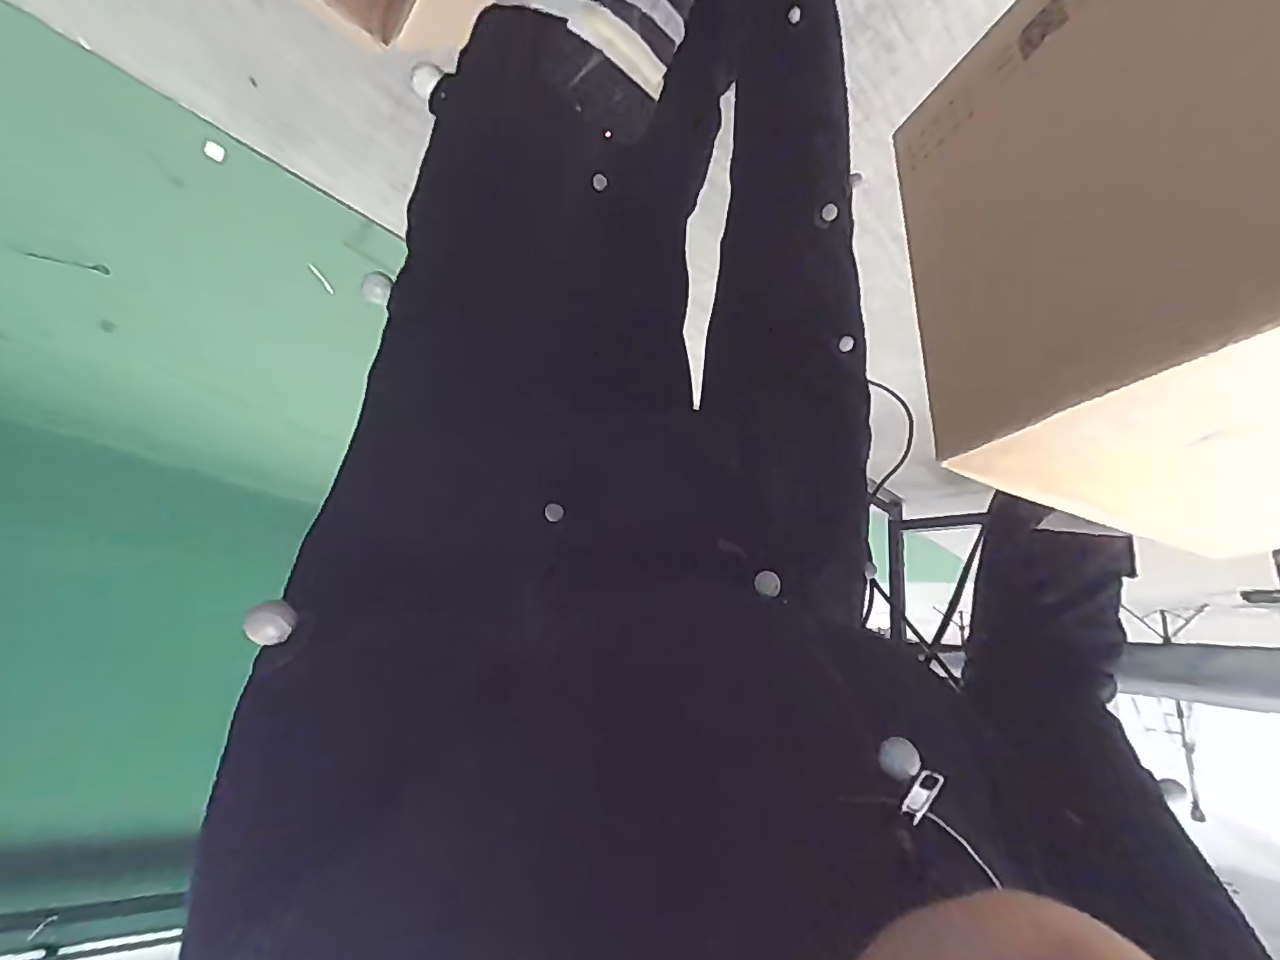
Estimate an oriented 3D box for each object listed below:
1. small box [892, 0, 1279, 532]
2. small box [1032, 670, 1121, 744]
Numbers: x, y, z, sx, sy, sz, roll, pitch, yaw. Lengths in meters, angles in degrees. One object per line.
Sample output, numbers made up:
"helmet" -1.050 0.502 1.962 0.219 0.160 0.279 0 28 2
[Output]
"small box" 0.213 -0.097 0.177 0.179 0.176 0.168 15 154 -19
"small box" 1.250 0.648 1.550 0.179 0.176 0.168 23 156 -37
